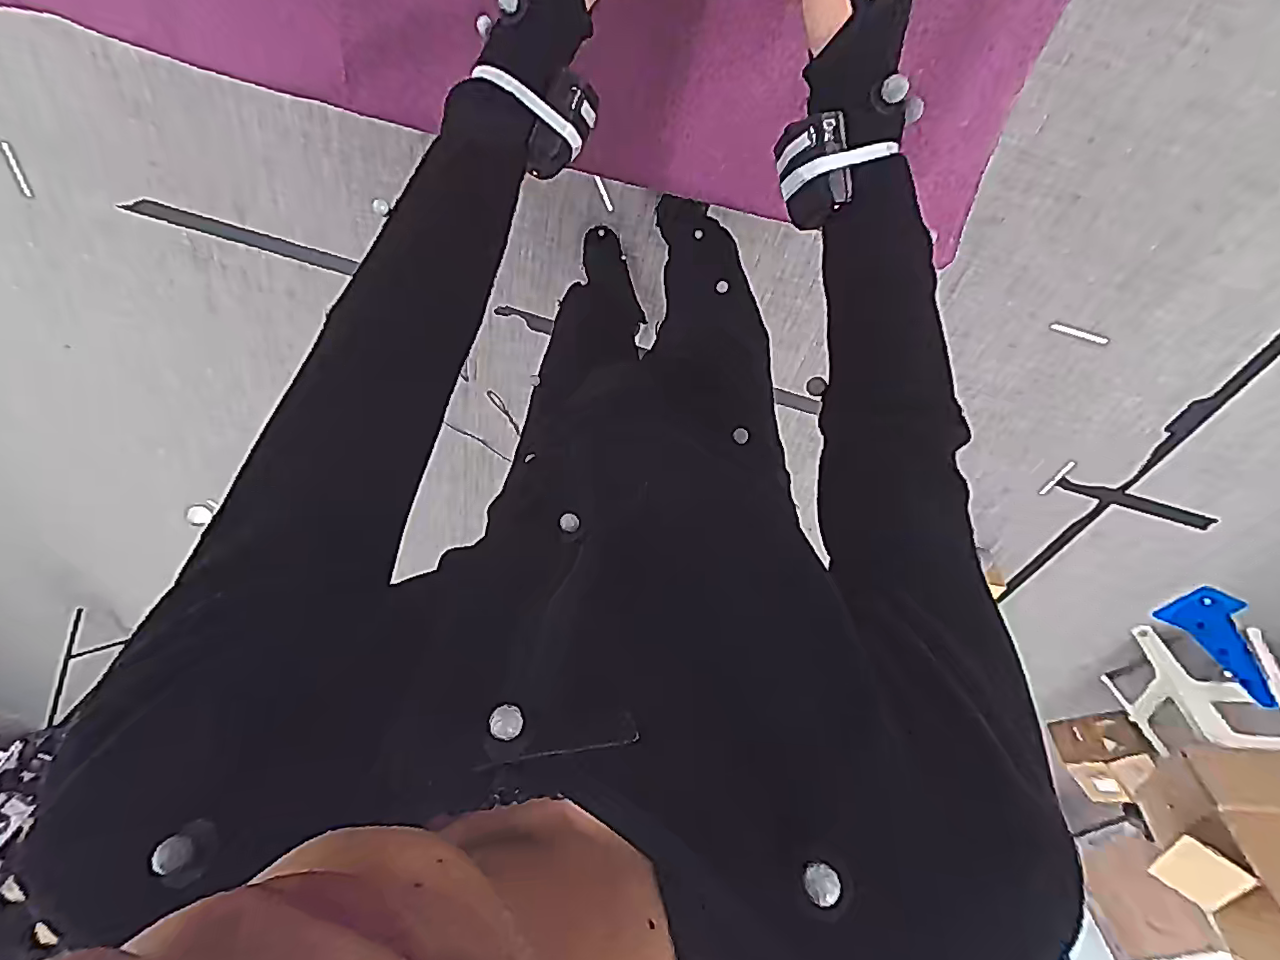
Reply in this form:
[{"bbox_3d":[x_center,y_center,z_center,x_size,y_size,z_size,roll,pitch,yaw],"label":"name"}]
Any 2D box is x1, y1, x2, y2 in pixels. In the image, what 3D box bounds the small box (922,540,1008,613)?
[{"bbox_3d":[1.117,0.330,1.877,0.179,0.176,0.168,13,132,-2],"label":"small box"}]
